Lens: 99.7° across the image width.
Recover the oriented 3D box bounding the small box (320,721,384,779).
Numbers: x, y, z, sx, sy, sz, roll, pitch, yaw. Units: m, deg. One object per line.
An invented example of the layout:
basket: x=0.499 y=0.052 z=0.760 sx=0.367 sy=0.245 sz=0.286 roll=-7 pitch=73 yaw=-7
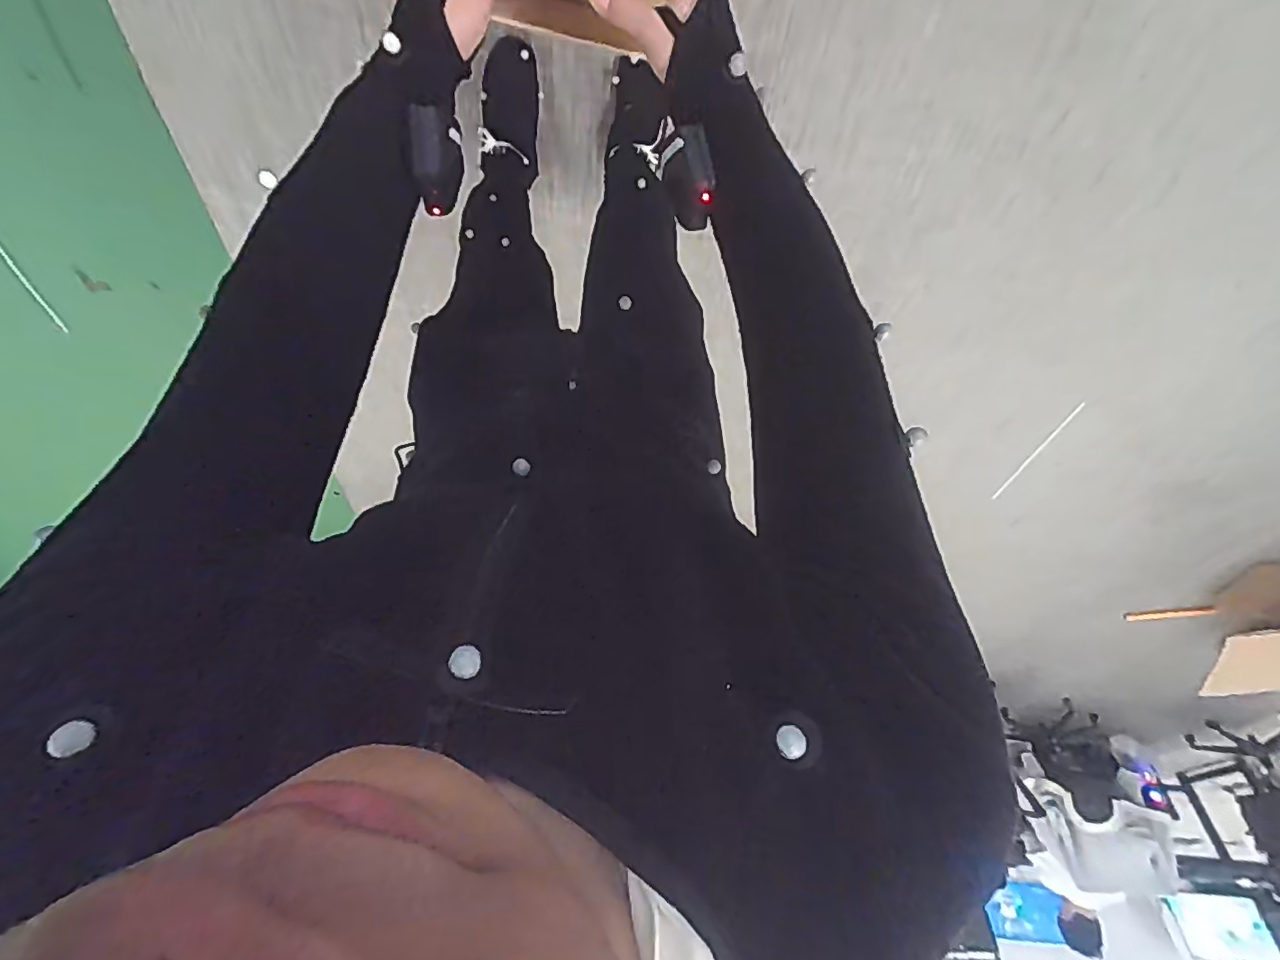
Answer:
small box: x=-1.165 y=1.101 z=2.204 sx=0.168 sy=0.176 sz=0.179 roll=7 pitch=139 yaw=-5
